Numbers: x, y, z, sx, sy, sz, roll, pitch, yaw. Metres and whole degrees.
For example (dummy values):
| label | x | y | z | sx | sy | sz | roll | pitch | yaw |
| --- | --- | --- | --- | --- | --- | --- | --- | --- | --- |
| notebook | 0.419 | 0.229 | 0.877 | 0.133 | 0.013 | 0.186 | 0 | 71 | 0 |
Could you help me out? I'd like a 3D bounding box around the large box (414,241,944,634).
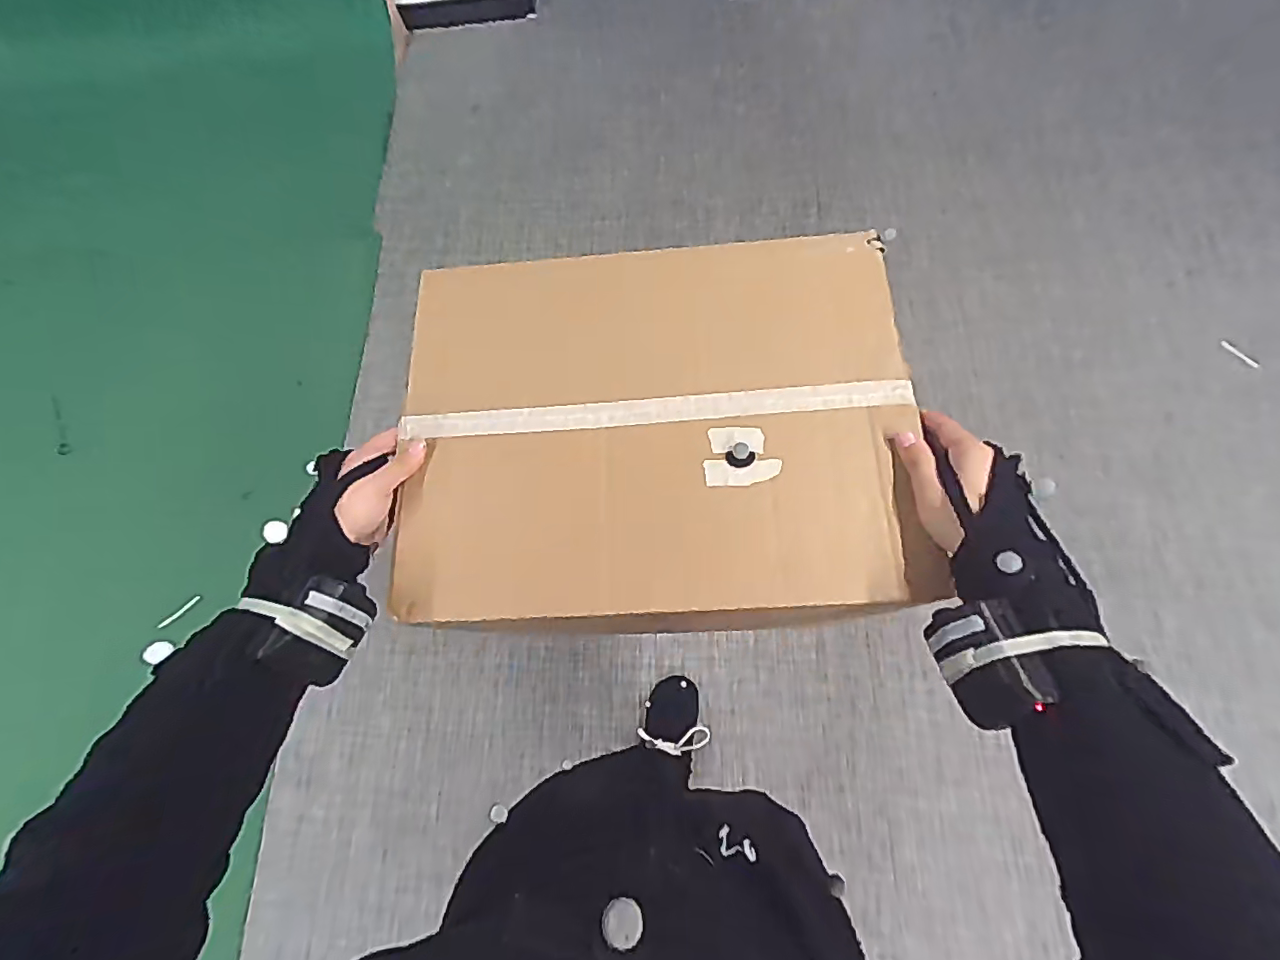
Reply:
| label | x | y | z | sx | sy | sz | roll | pitch | yaw |
| --- | --- | --- | --- | --- | --- | --- | --- | --- | --- |
| large box | 0.025 | -0.010 | 0.586 | 0.408 | 0.320 | 0.320 | -4 | 73 | 3 |
